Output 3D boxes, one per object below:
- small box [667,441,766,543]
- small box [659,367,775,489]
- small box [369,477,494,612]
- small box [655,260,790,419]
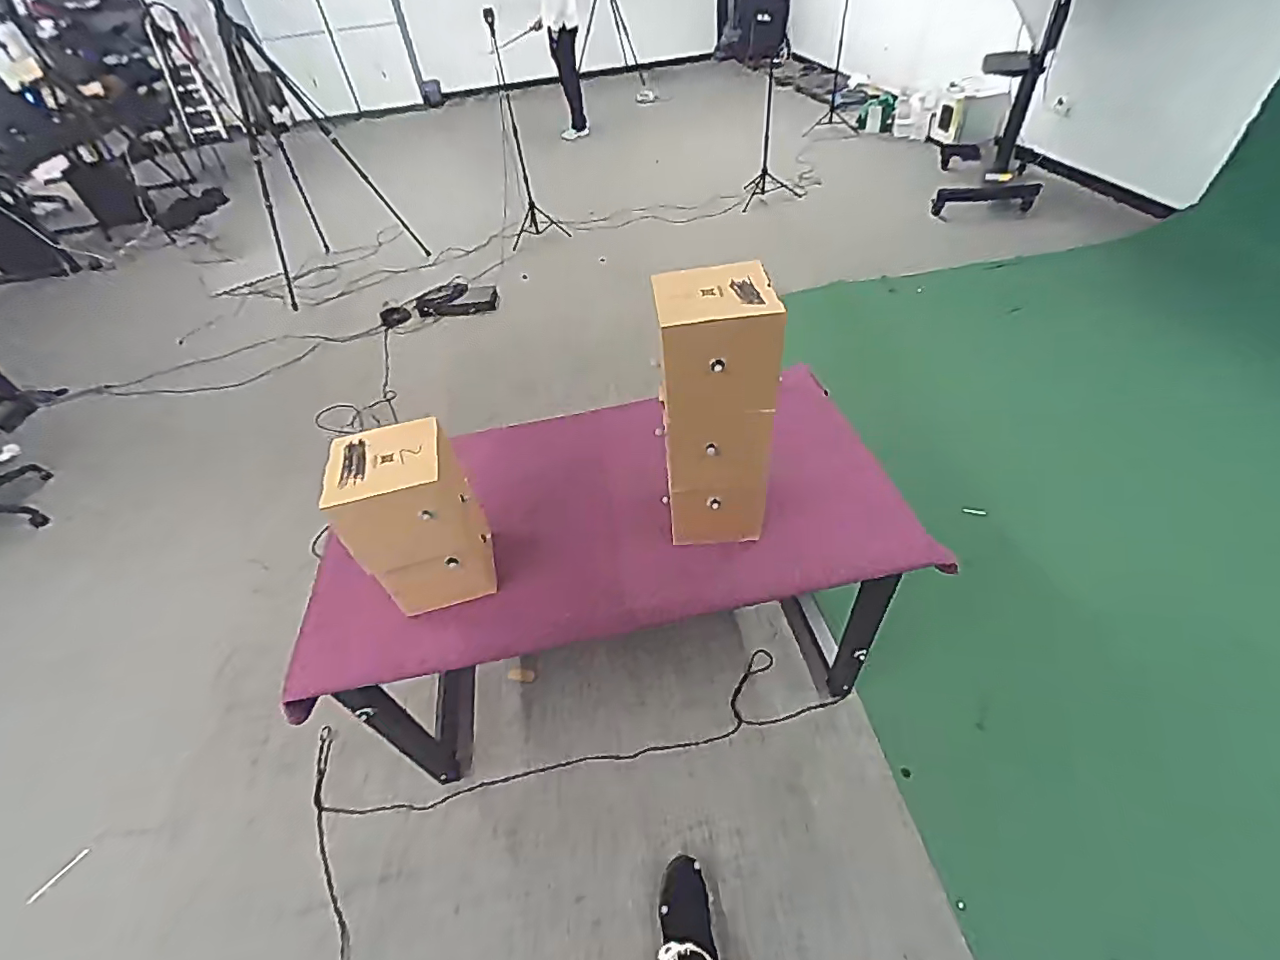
[{"bbox_3d":[0.148,0.013,1.073,0.179,0.176,0.168,-3,46,4],"label":"small box"},{"bbox_3d":[0.133,-0.099,0.955,0.179,0.176,0.168,-6,47,3],"label":"small box"},{"bbox_3d":[-0.384,0.125,1.028,0.179,0.176,0.168,-14,46,-7],"label":"small box"},{"bbox_3d":[0.119,-0.215,0.839,0.179,0.176,0.168,-7,46,2],"label":"small box"}]
